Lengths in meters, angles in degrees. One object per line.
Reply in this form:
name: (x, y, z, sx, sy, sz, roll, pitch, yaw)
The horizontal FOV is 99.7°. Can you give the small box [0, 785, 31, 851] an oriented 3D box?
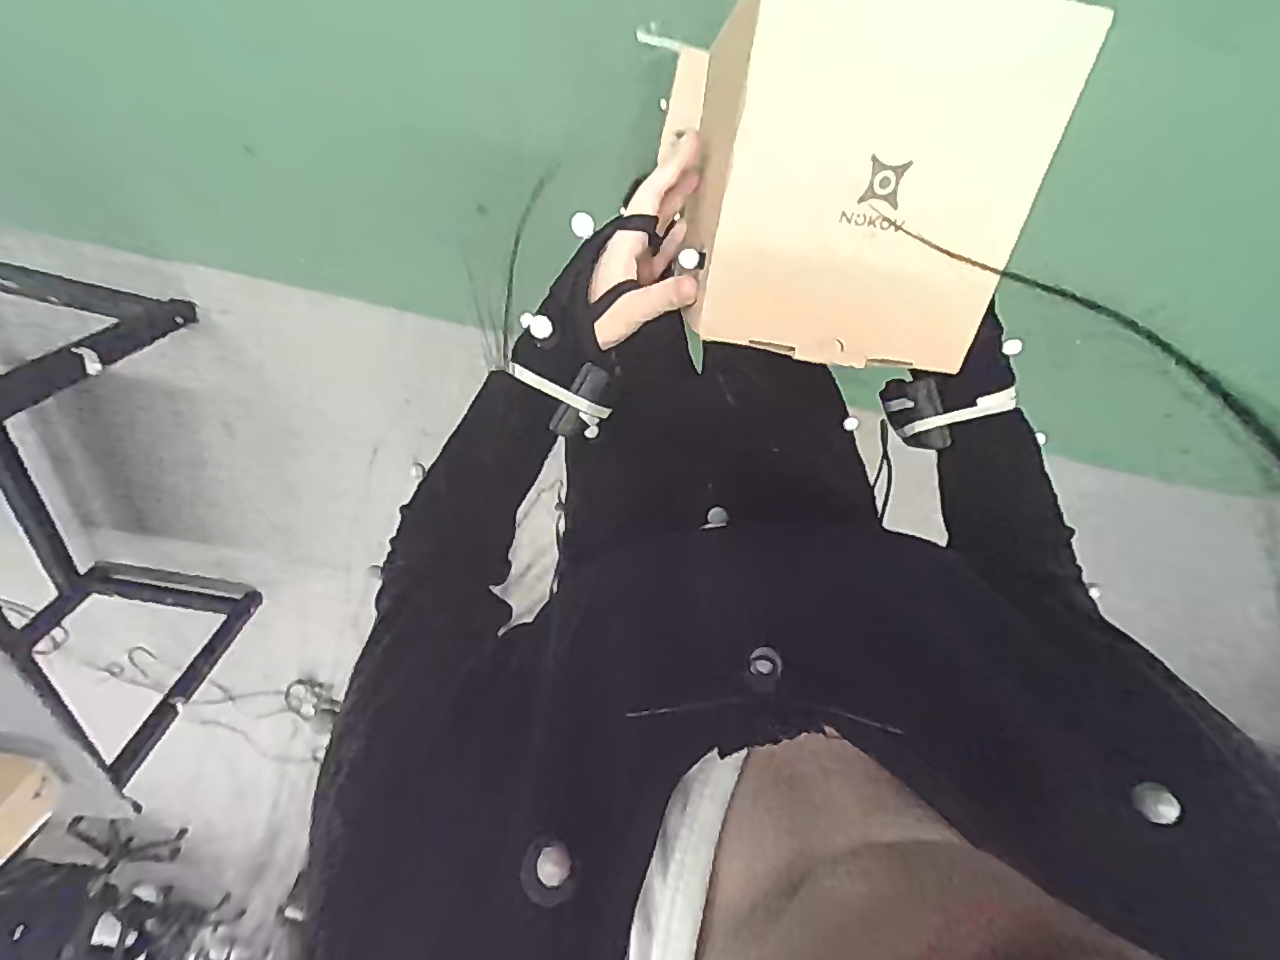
small box: (-1.508, 0.768, 1.165, 0.179, 0.176, 0.168, 14, 124, -9)
